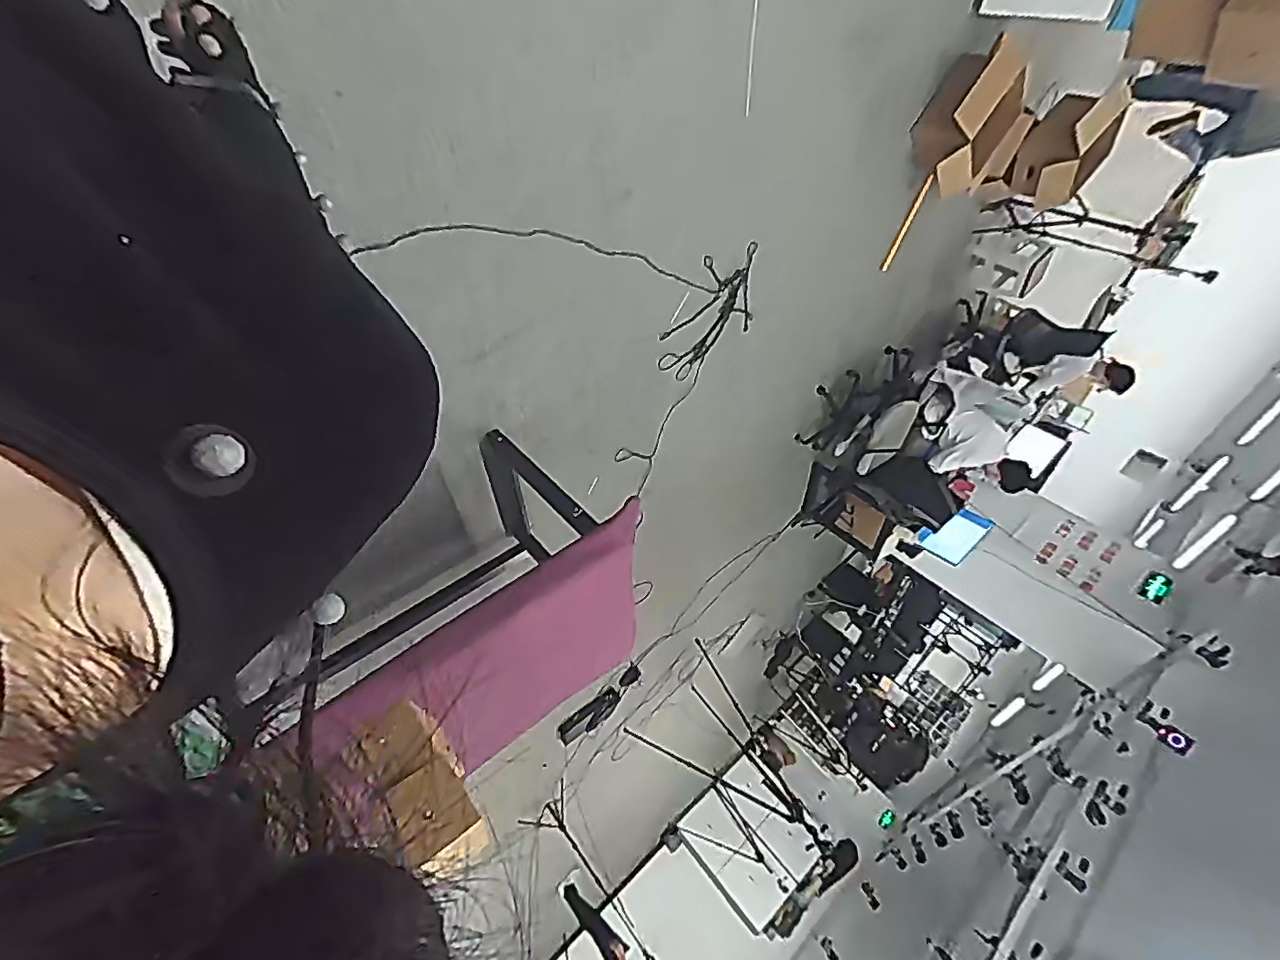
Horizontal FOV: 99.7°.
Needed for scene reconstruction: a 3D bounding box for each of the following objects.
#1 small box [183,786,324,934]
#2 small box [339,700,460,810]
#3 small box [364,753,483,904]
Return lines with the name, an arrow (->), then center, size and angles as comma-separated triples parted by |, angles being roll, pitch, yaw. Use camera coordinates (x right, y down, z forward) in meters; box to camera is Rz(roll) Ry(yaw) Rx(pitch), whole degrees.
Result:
small box -> -0.774, 0.764, 1.088 | 0.179, 0.176, 0.168 | -35, 144, -24
small box -> -0.549, 0.641, 1.240 | 0.168, 0.176, 0.179 | -36, 145, -22
small box -> -0.454, 0.721, 1.129 | 0.179, 0.176, 0.168 | -27, 141, -34
